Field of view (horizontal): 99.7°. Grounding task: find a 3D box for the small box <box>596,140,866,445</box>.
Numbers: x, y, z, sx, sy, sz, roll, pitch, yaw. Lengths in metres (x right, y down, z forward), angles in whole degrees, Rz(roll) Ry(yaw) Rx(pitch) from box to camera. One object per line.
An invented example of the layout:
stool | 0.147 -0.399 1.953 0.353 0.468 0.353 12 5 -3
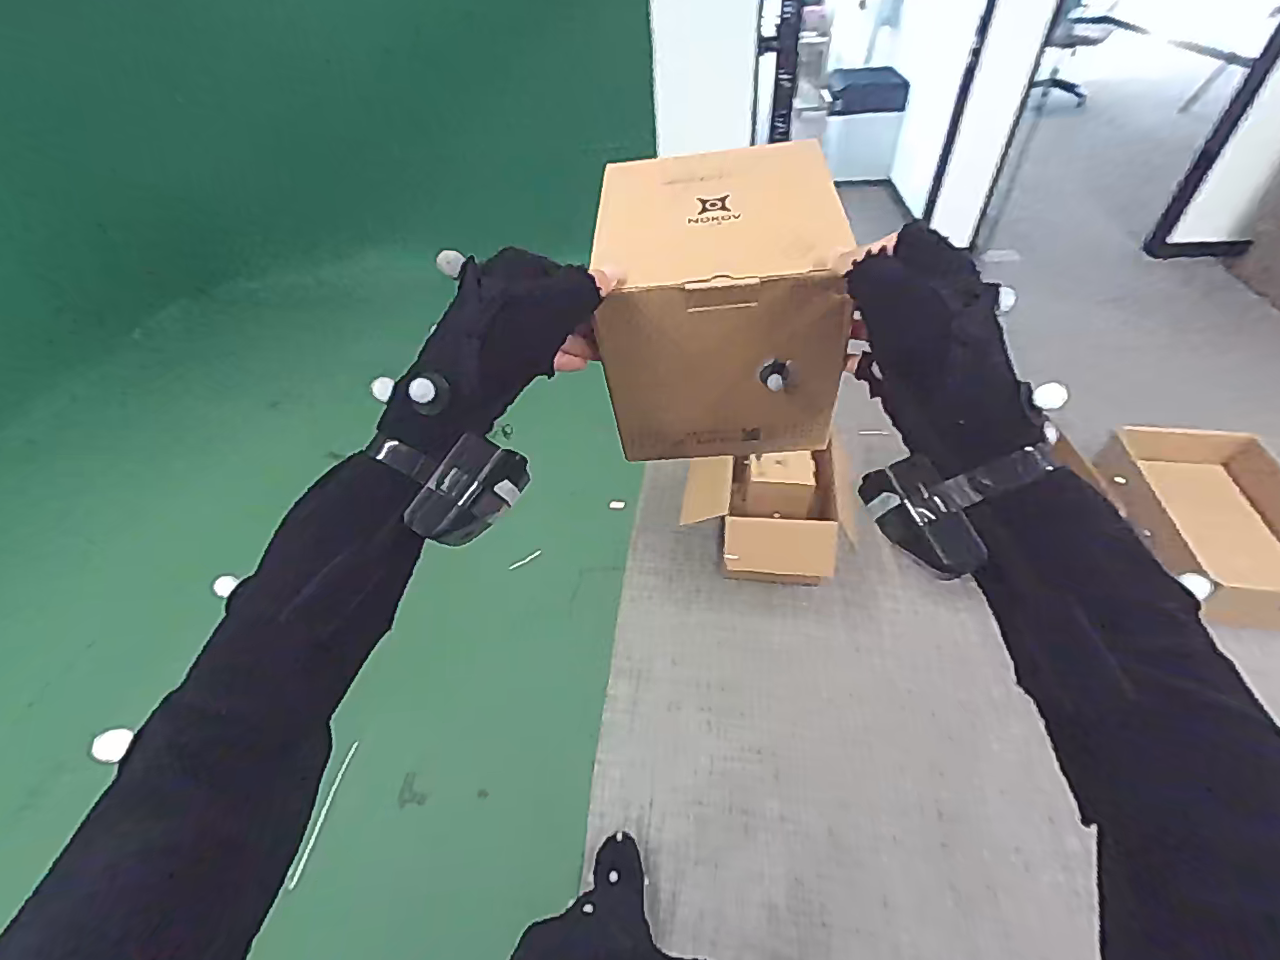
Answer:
small box | 0.067 -0.140 0.437 0.168 0.176 0.179 -2 52 7
